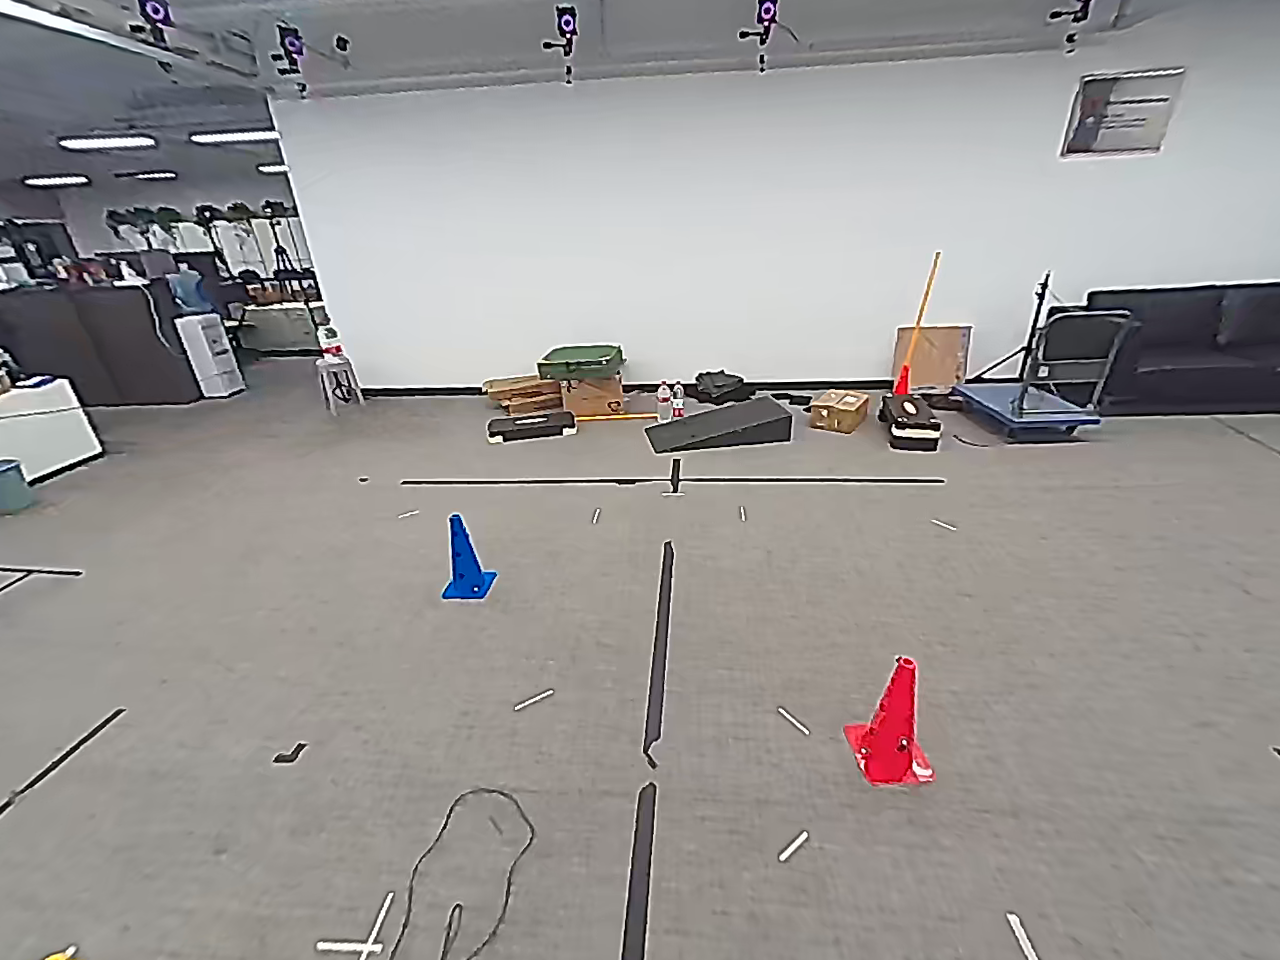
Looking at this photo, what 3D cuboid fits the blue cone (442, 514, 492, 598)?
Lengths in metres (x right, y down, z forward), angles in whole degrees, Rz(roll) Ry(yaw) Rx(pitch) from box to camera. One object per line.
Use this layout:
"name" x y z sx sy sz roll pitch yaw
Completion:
"blue cone" -0.782 0.321 2.355 0.192 0.380 0.193 0 25 7

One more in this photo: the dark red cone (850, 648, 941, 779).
"dark red cone" 0.729 0.627 1.505 0.201 0.394 0.202 -4 25 -1
